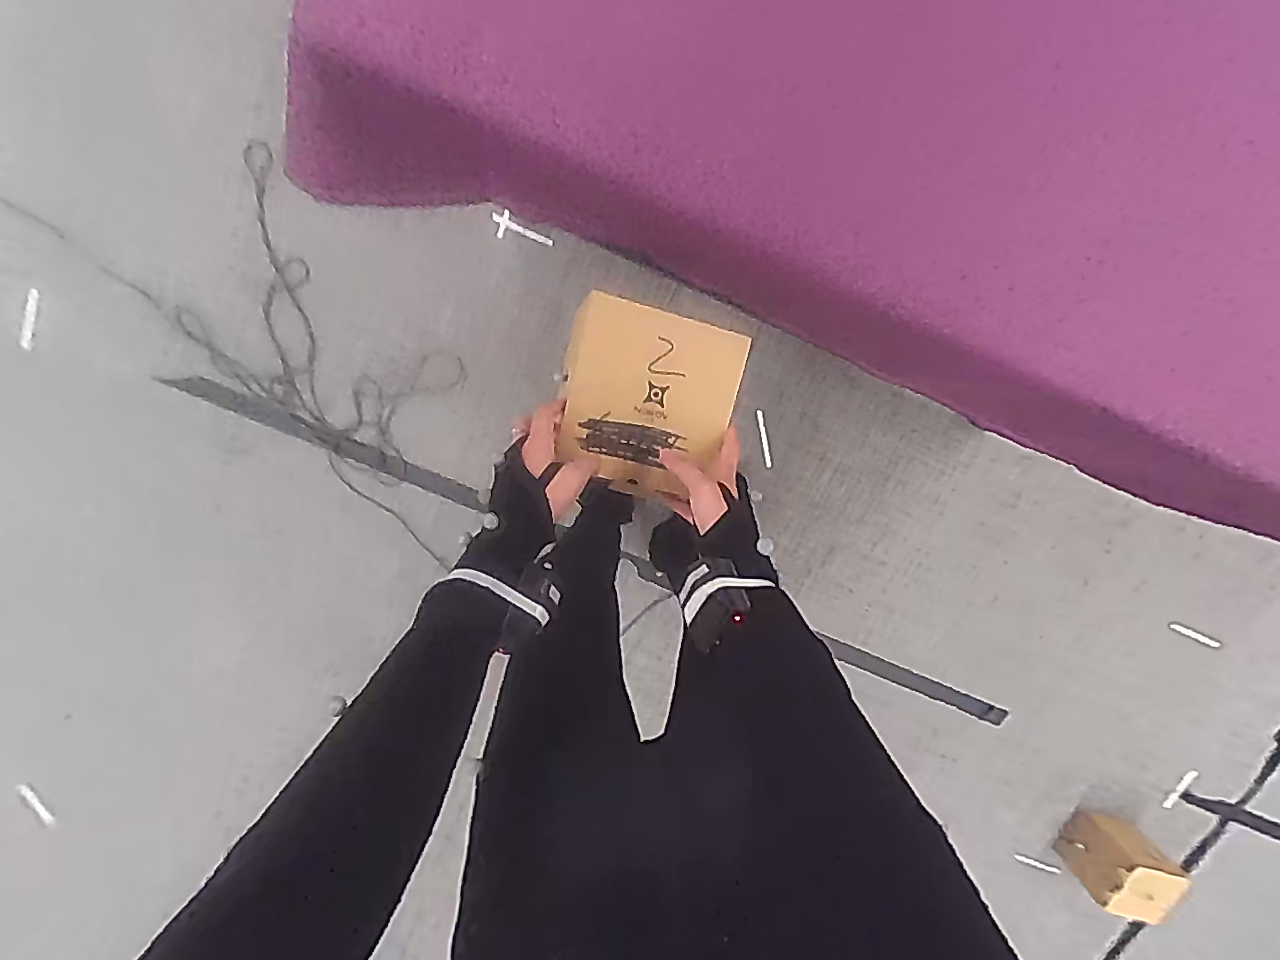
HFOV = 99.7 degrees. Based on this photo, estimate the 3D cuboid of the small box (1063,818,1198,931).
[{"bbox_3d":[1.325,1.067,1.475,0.179,0.176,0.168,19,103,-4],"label":"small box"}]
